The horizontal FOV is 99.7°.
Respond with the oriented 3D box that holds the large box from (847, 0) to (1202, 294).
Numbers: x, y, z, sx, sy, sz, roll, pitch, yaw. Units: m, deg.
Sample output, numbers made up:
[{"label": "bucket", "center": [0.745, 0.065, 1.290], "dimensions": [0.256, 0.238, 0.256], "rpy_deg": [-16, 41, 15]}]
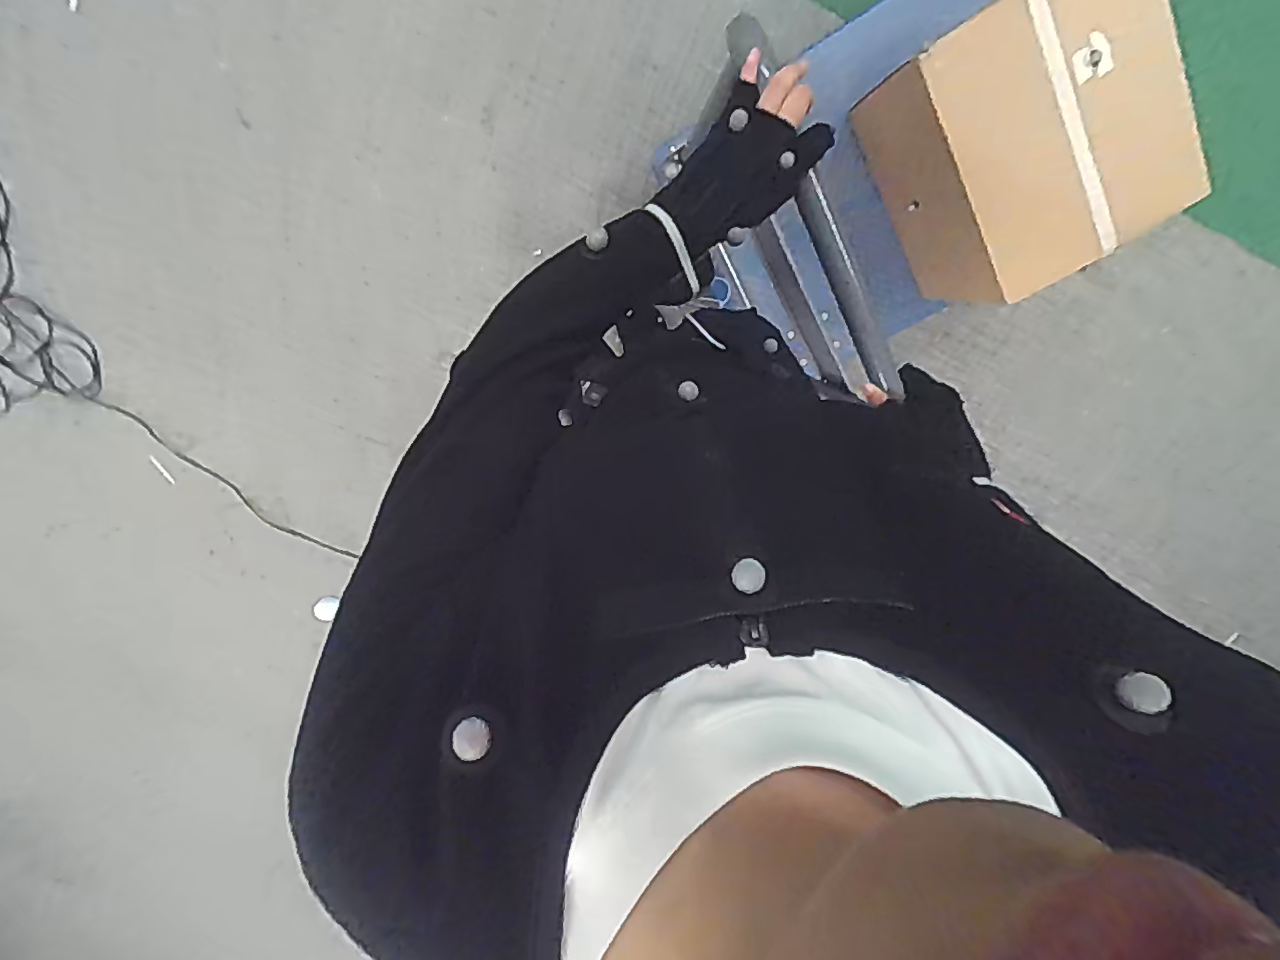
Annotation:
[{"label": "large box", "center": [0.626, -0.587, 0.938], "dimensions": [0.320, 0.320, 0.408], "rpy_deg": [-30, 107, 12]}]
